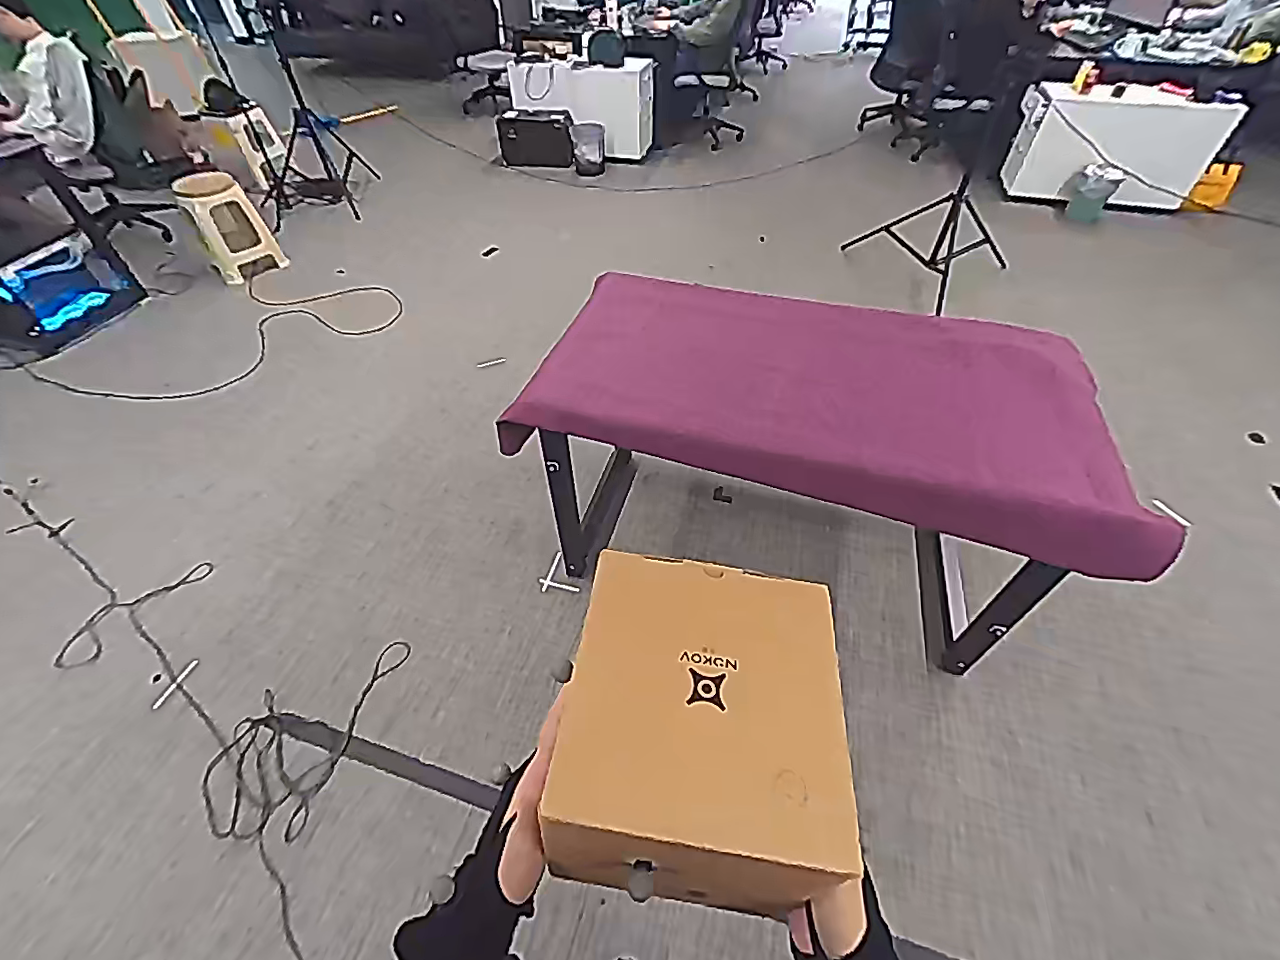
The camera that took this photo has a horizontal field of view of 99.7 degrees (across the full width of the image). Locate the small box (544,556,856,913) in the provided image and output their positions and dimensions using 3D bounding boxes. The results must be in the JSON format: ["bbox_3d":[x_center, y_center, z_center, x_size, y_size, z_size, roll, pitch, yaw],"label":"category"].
[{"bbox_3d":[0.036,0.184,0.392,0.168,0.176,0.179,9,44,2],"label":"small box"}]
